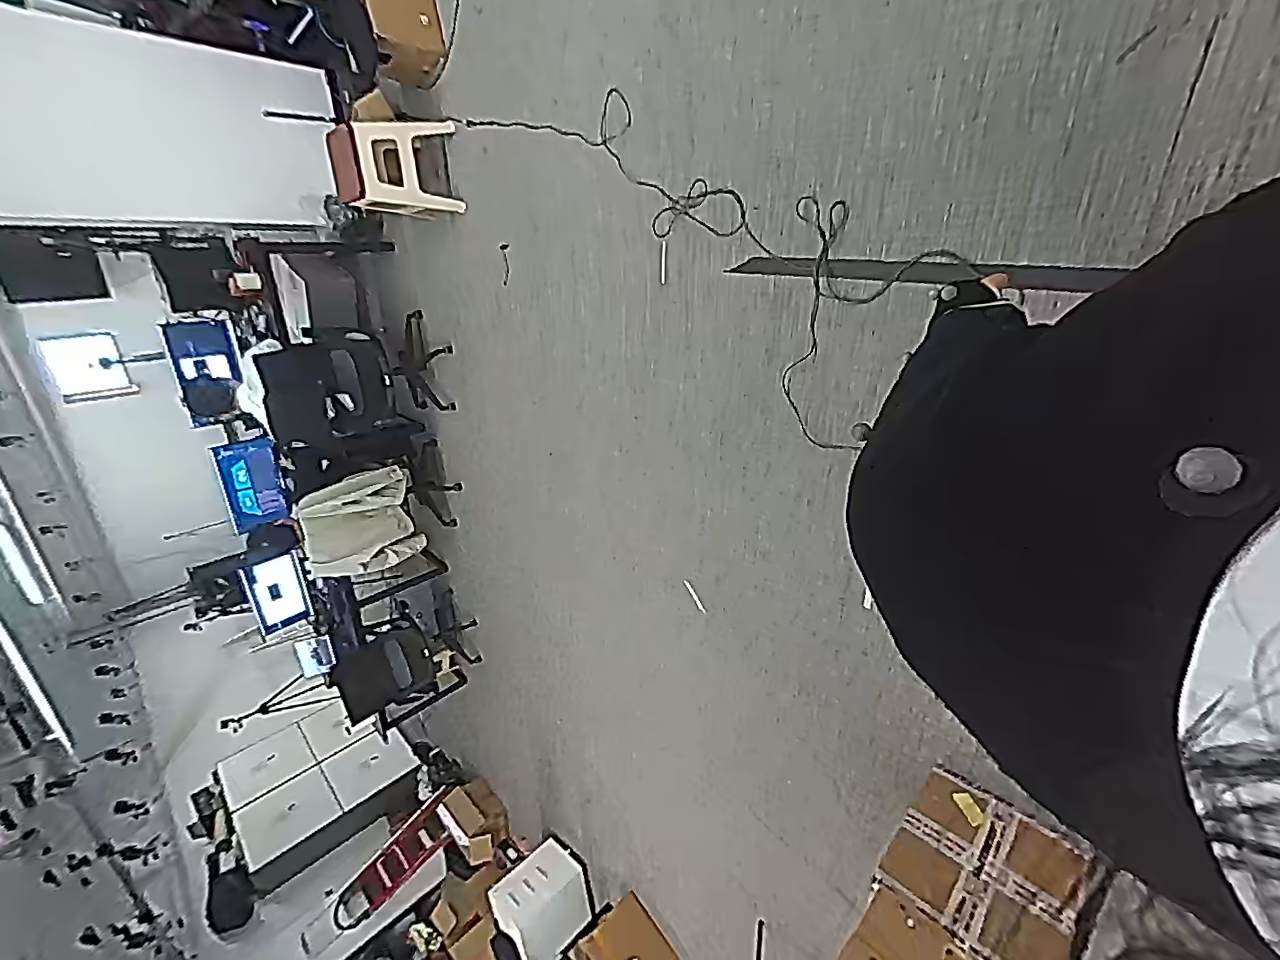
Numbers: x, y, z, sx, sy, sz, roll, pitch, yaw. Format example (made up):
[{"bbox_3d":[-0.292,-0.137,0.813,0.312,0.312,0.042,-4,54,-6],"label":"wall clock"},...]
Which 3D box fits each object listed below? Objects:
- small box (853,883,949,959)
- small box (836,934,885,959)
[{"bbox_3d":[0.616,1.135,1.293,0.168,0.176,0.179,19,117,42],"label":"small box"},{"bbox_3d":[0.495,1.171,1.188,0.168,0.176,0.179,21,118,41],"label":"small box"}]
